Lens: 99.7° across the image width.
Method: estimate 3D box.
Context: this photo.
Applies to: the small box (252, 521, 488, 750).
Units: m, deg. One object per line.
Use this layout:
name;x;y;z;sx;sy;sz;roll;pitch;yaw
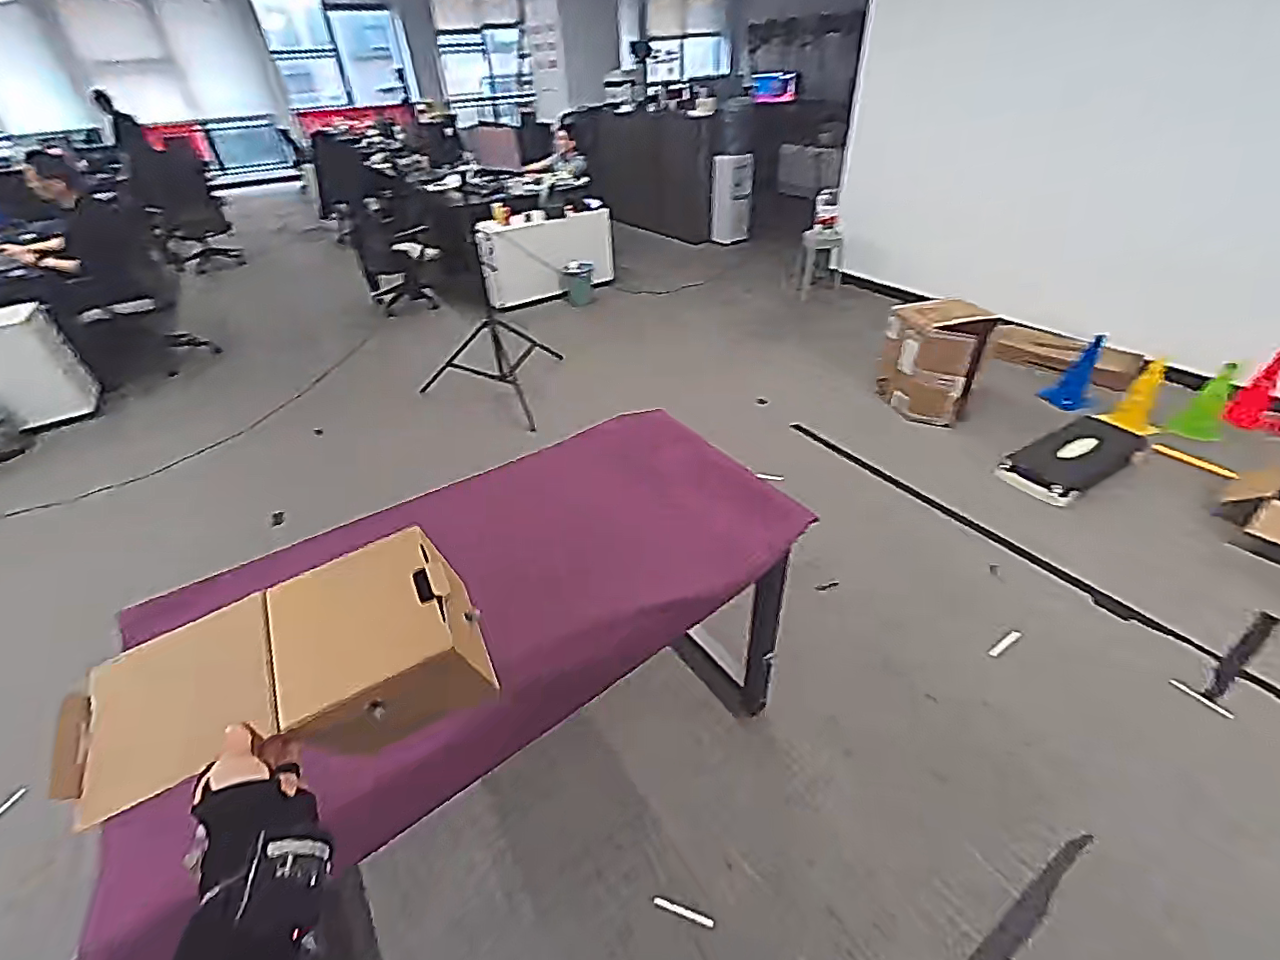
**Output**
small box;-0.304;0.186;0.629;0.179;0.176;0.168;-26;57;-14
